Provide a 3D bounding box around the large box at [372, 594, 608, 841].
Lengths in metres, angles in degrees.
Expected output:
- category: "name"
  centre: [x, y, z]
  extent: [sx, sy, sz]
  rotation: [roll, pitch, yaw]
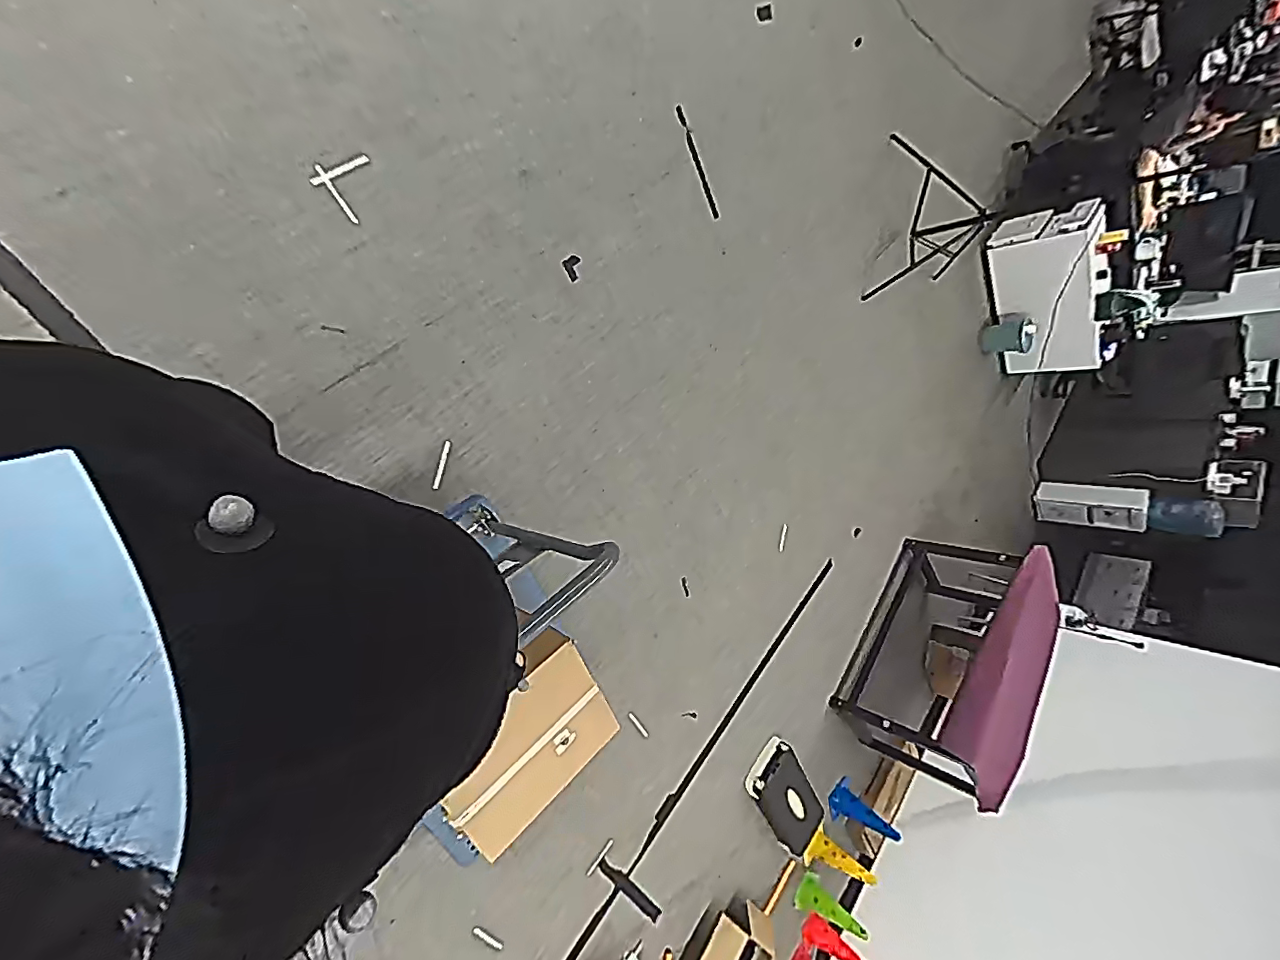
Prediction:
- category: "large box"
  centre: [-0.365, 0.554, 1.342]
  extent: [0.408, 0.320, 0.320]
  rotation: [-38, 118, -31]
